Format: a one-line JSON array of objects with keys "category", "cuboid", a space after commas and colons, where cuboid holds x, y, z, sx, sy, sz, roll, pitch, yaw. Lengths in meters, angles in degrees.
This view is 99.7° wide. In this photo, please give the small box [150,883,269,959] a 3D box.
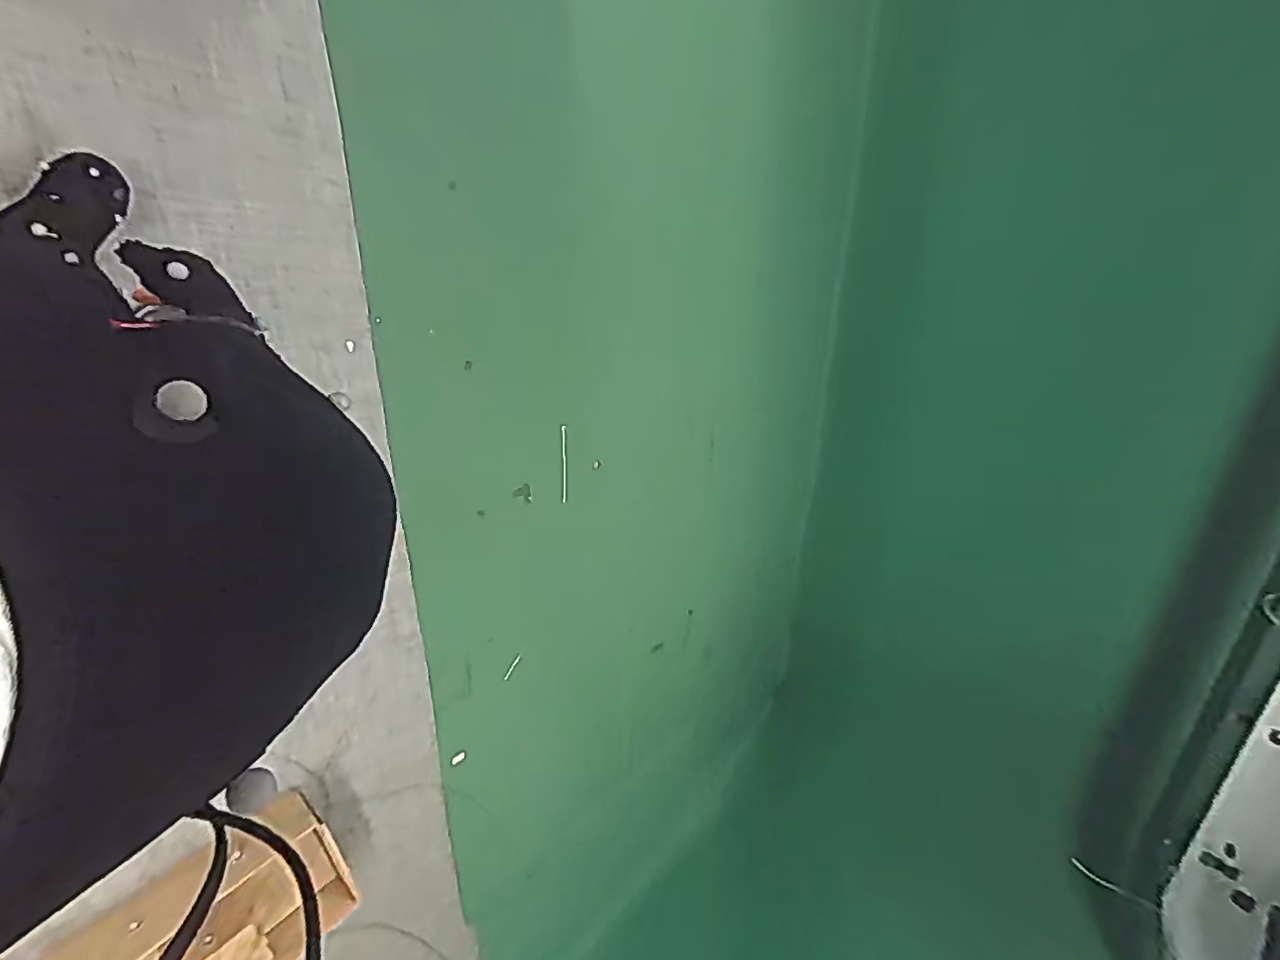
[{"category": "small box", "cuboid": [-1.092, 1.188, 1.374, 0.179, 0.176, 0.168, -28, 124, -42]}]
